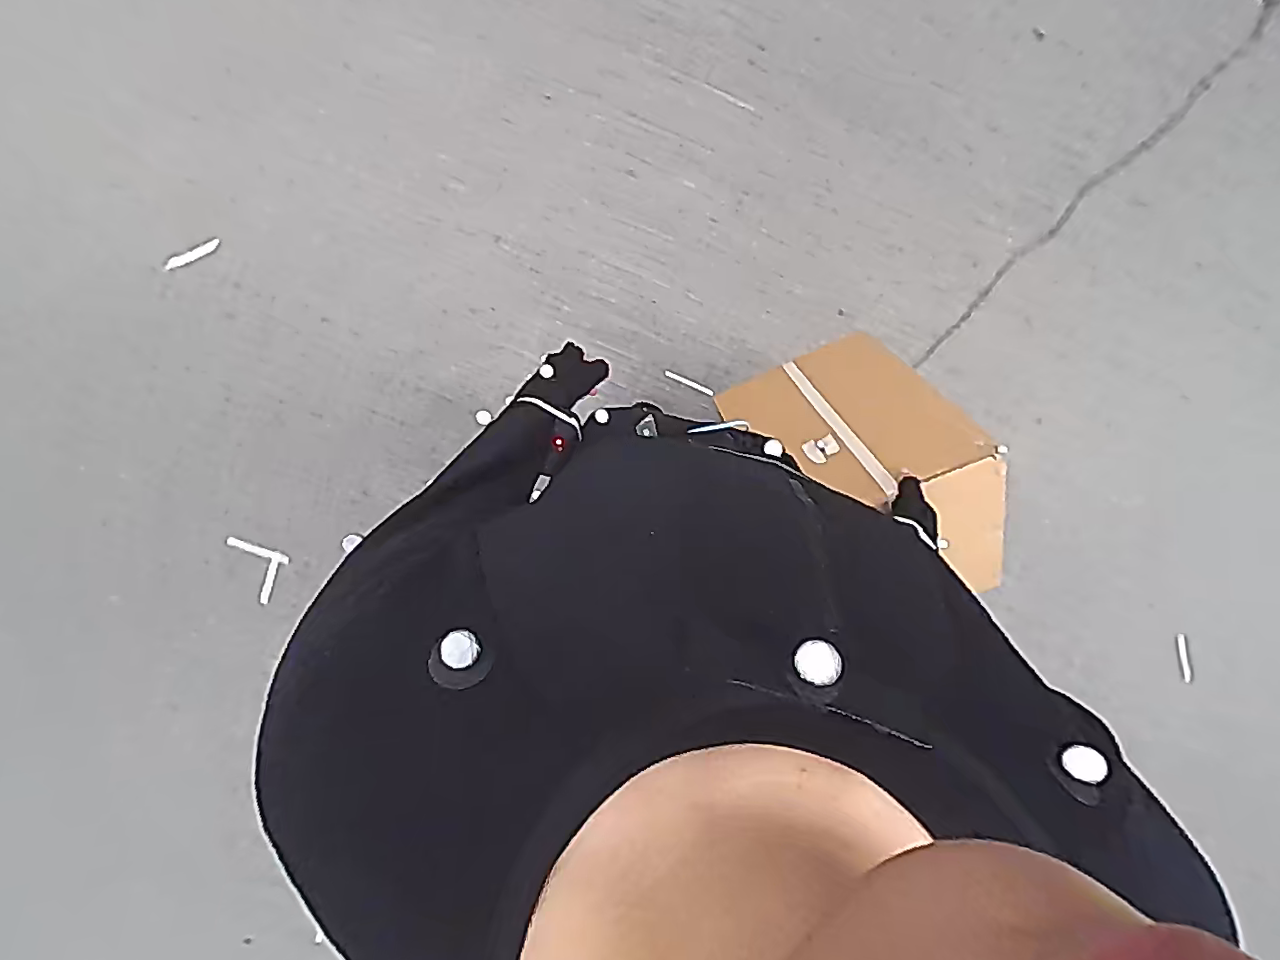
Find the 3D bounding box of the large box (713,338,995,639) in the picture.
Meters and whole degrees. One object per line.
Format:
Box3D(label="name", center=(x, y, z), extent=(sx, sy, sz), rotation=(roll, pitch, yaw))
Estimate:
Box3D(label="large box", center=(0.369, 0.006, 1.000), extent=(0.320, 0.408, 0.320), rotation=(-24, 129, 8))
